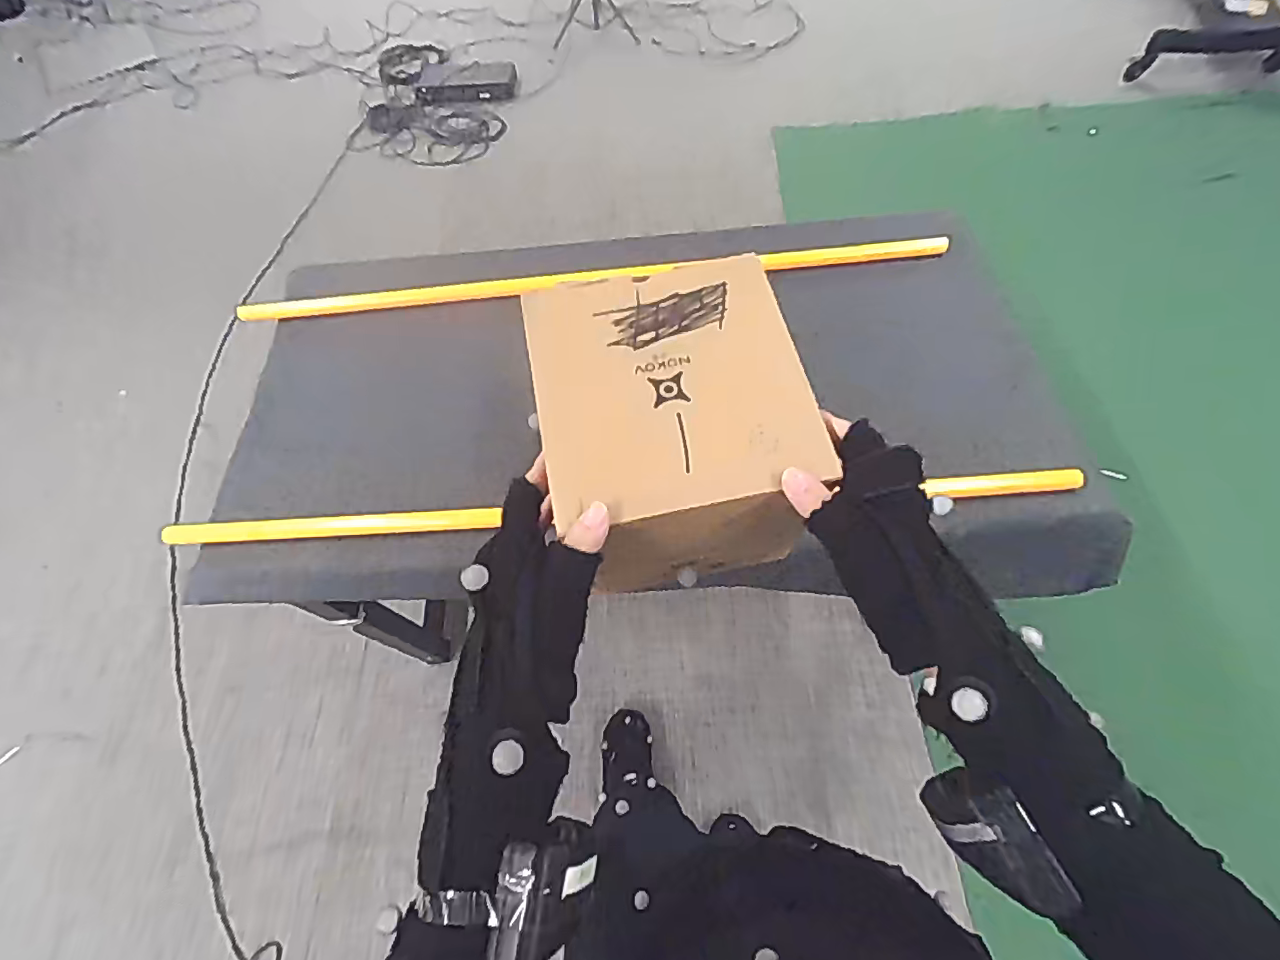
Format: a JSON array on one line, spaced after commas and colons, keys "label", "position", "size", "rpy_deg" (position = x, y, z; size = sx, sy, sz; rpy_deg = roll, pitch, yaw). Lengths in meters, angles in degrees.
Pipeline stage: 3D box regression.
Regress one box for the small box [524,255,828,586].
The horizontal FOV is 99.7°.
[{"label": "small box", "position": [0.017, -0.035, 0.416], "size": [0.168, 0.176, 0.179], "rpy_deg": [-12, 66, -2]}]
